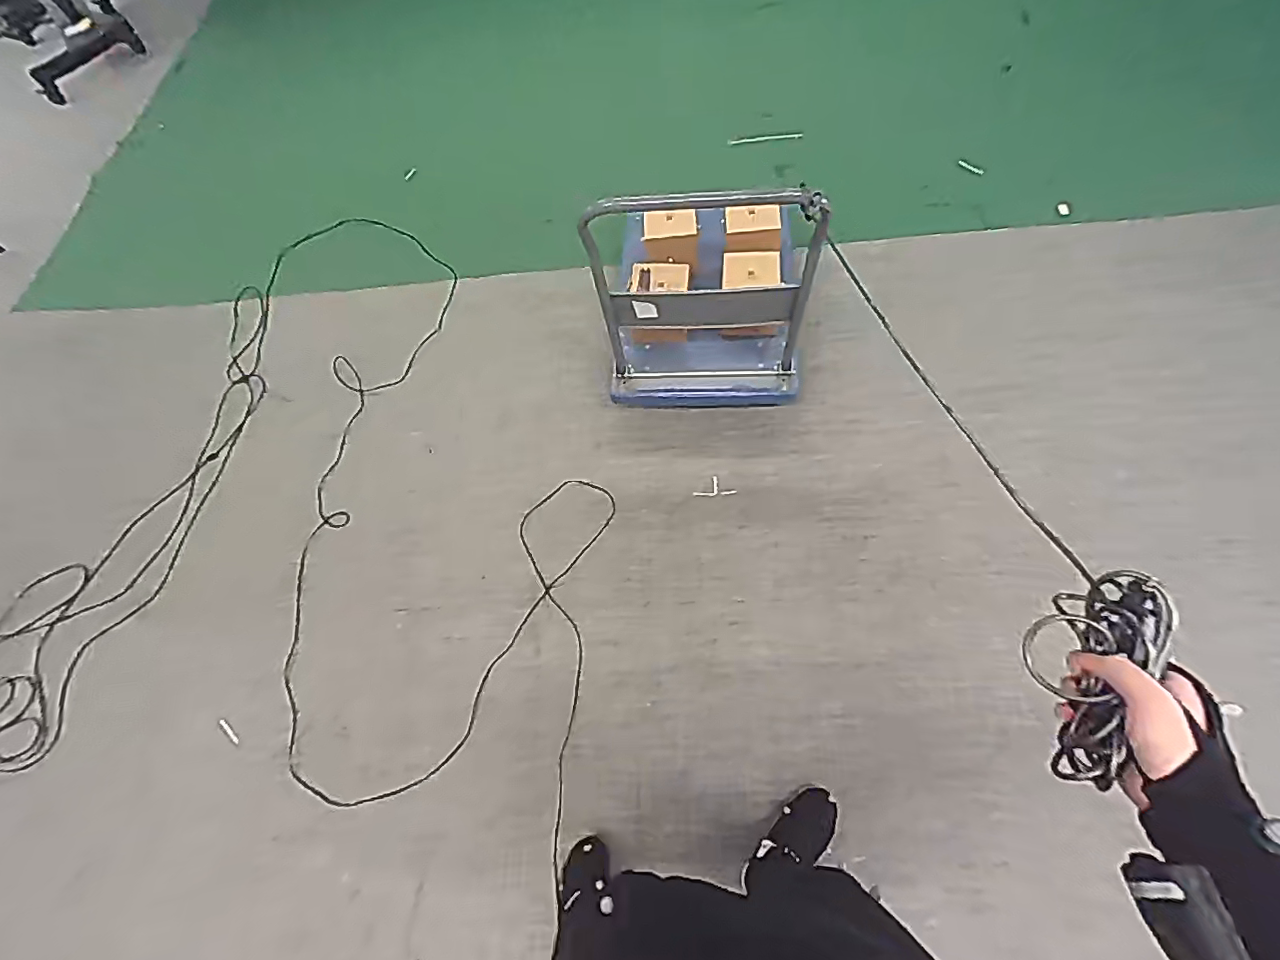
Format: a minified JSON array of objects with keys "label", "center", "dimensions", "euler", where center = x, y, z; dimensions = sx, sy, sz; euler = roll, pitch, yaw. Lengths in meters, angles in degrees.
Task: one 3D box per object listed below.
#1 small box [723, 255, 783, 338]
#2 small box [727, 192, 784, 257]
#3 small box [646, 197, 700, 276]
[{"label":"small box","center":[0.341,-0.556,1.642],"dimensions":[0.168,0.176,0.179],"euler":[2,67,8]},{"label":"small box","center":[0.366,-0.792,1.743],"dimensions":[0.168,0.176,0.179],"euler":[-1,67,8]},{"label":"small box","center":[0.112,-0.790,1.776],"dimensions":[0.168,0.176,0.179],"euler":[-2,66,6]}]
